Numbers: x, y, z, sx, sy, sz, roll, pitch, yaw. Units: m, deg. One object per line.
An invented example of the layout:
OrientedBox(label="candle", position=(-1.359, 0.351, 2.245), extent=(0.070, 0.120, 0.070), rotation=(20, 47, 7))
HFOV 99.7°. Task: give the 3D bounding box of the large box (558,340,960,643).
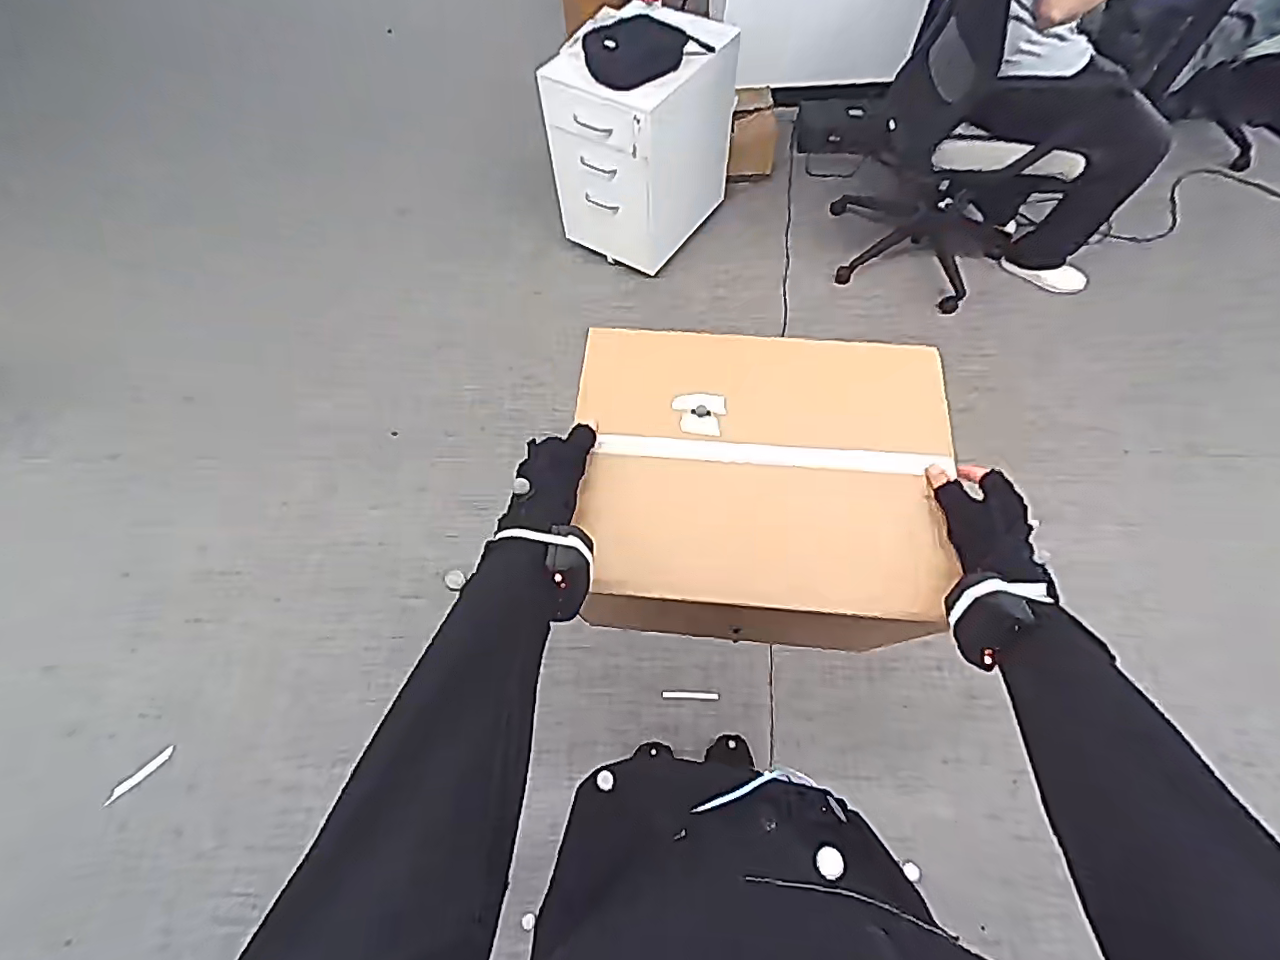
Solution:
OrientedBox(label="large box", position=(0.136, 0.035, 0.727), extent=(0.408, 0.320, 0.320), rotation=(4, 67, 5))
